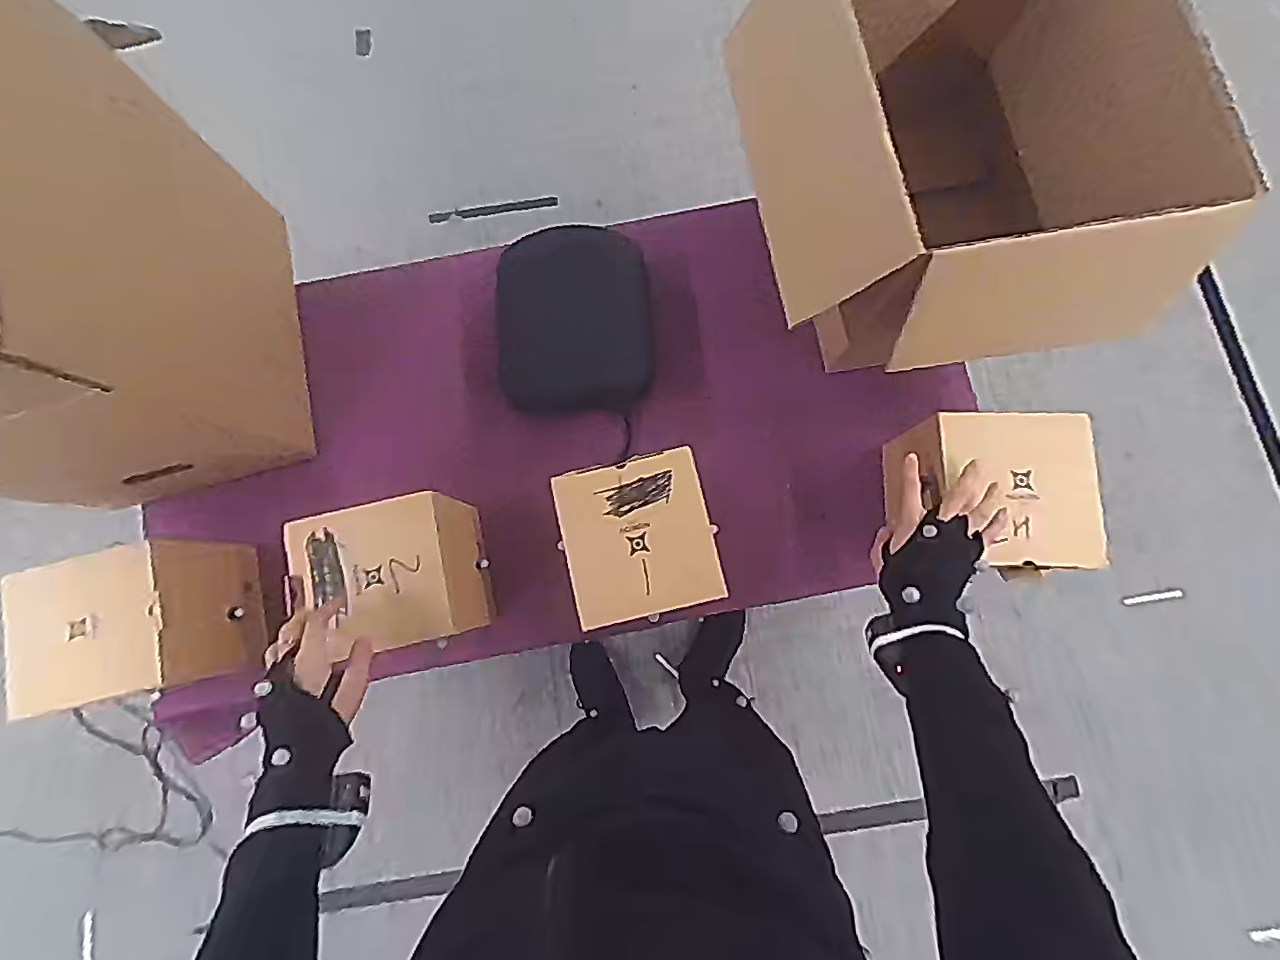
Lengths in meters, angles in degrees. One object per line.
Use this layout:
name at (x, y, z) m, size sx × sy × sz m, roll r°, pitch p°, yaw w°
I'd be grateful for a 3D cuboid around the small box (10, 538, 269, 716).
small box at (-0.619, 0.179, 0.686) m, size 0.179 × 0.176 × 0.168 m, roll -14°, pitch 80°, yaw -1°

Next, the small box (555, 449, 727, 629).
small box at (0.000, 0.077, 0.679) m, size 0.168 × 0.176 × 0.179 m, roll -13°, pitch 81°, yaw 0°

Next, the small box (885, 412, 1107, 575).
small box at (0.418, 0.025, 0.668) m, size 0.168 × 0.176 × 0.179 m, roll 1°, pitch 80°, yaw 4°
